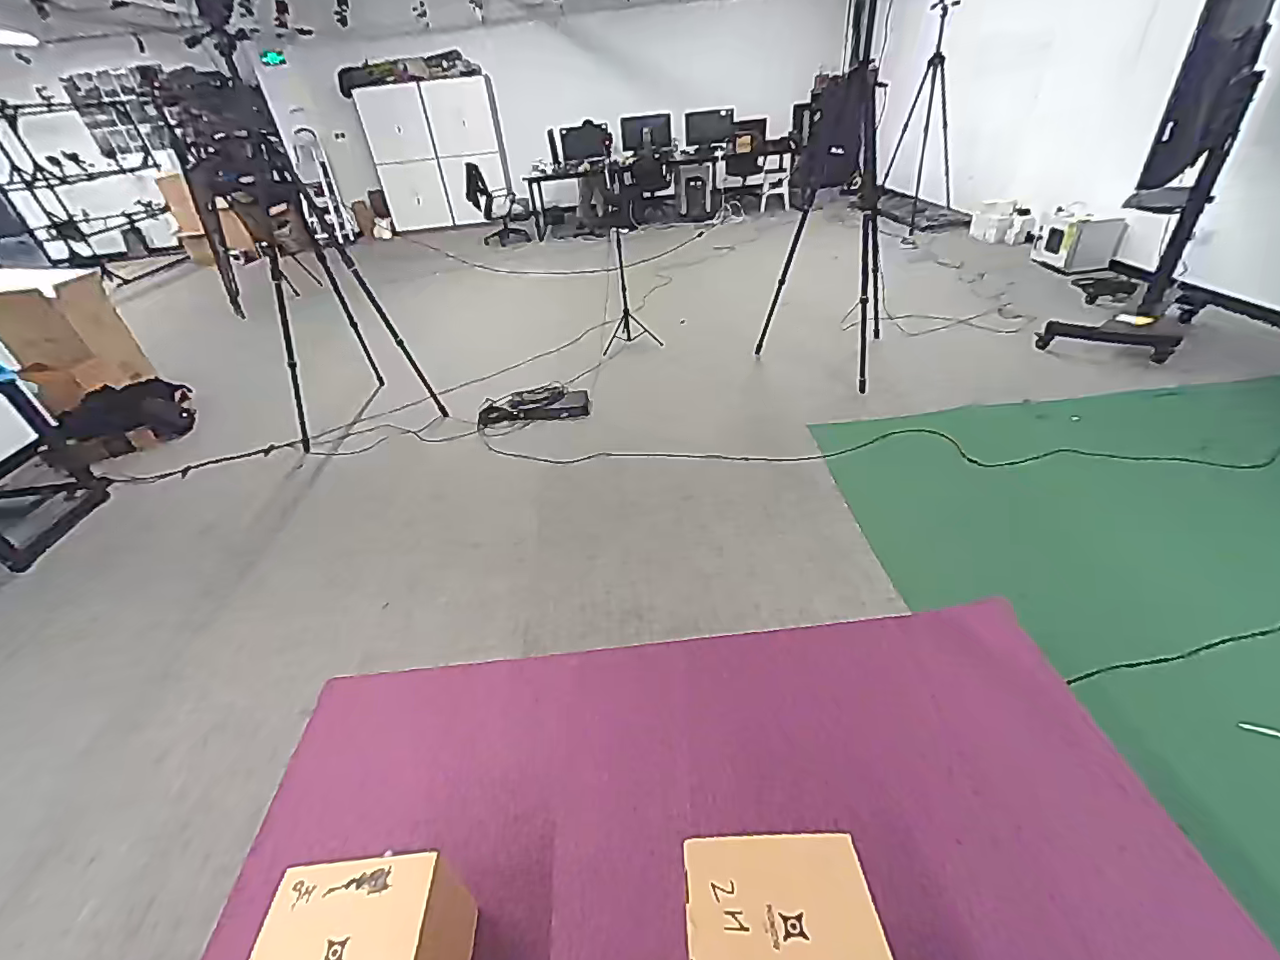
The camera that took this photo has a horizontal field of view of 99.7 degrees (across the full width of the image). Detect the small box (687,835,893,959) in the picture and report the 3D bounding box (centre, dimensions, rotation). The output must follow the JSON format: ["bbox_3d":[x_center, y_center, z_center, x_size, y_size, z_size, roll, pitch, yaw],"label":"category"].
[{"bbox_3d":[0.138,0.479,0.522,0.179,0.176,0.168,-4,23,4],"label":"small box"}]

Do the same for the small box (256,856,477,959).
[{"bbox_3d":[-0.281,0.528,0.560,0.168,0.176,0.179,-7,36,1],"label":"small box"}]
